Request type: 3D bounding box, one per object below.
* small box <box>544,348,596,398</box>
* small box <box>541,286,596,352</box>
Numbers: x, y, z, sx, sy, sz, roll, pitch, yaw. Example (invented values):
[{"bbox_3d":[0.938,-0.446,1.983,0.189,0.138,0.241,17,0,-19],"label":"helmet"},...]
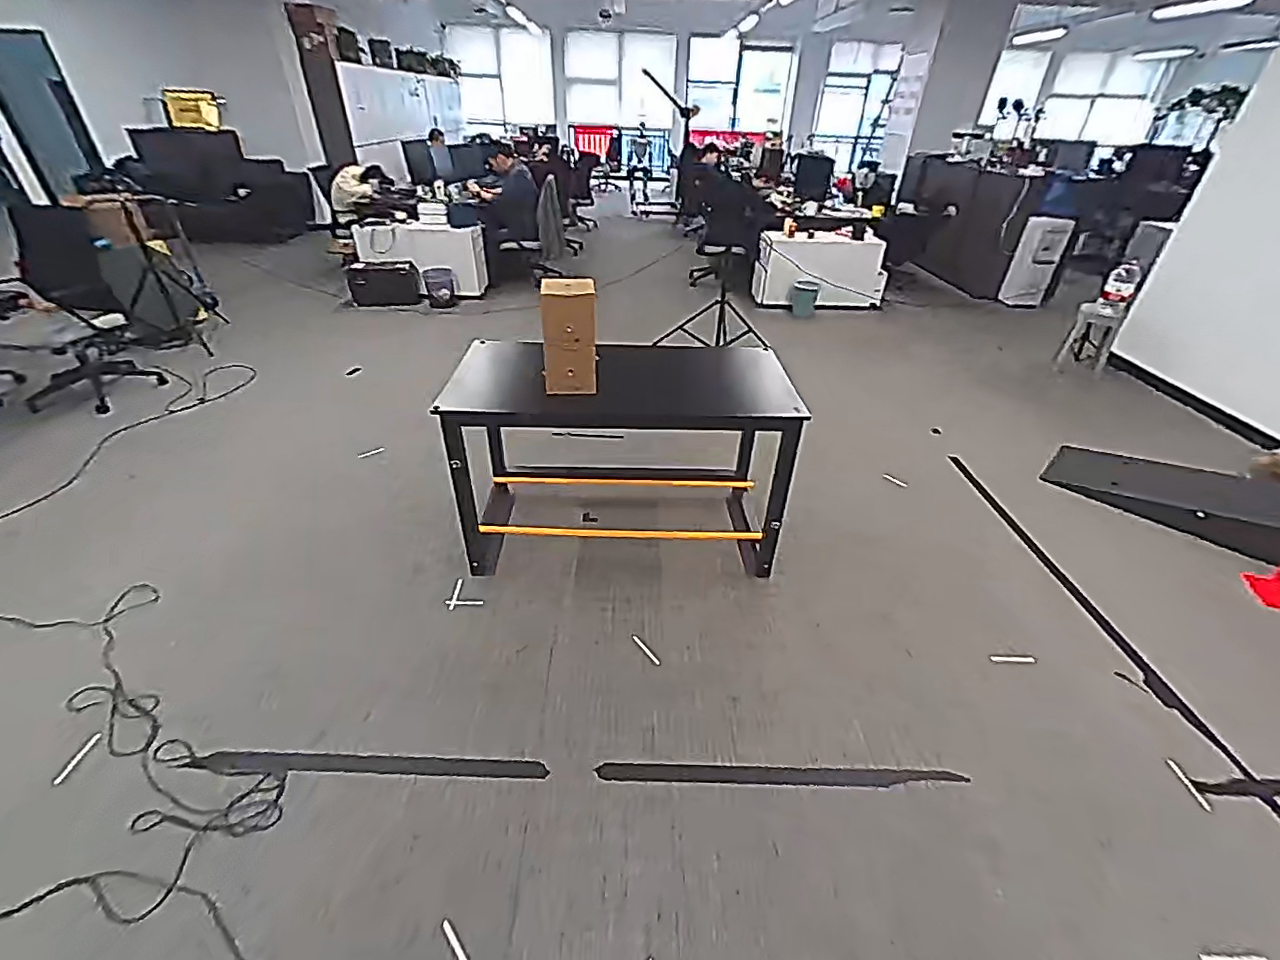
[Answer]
[{"bbox_3d":[-0.235,-0.388,1.854,0.168,0.176,0.179,-2,35,-5],"label":"small box"},{"bbox_3d":[-0.231,-0.528,1.764,0.168,0.176,0.179,-3,34,-6],"label":"small box"}]
